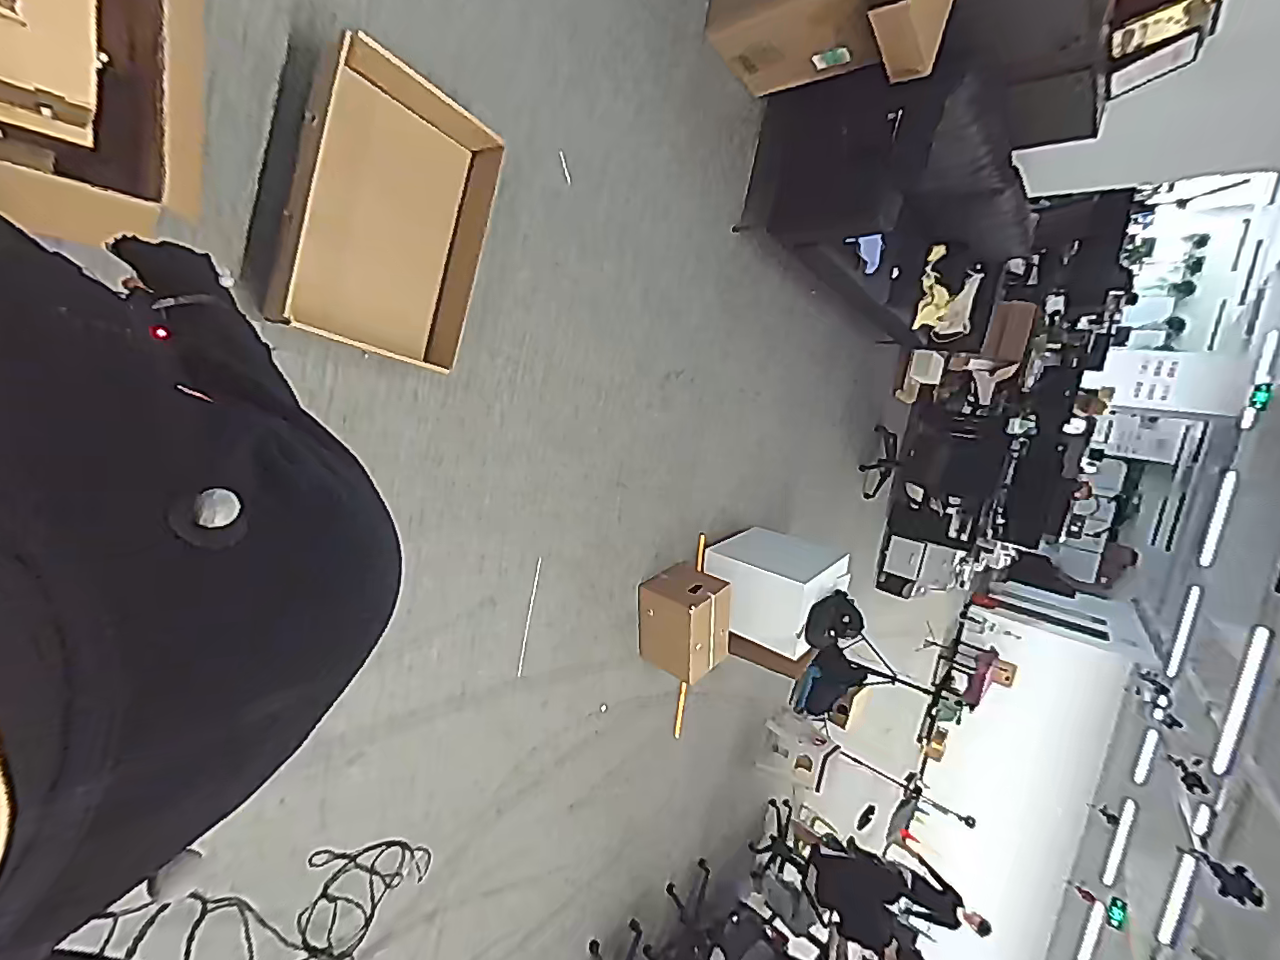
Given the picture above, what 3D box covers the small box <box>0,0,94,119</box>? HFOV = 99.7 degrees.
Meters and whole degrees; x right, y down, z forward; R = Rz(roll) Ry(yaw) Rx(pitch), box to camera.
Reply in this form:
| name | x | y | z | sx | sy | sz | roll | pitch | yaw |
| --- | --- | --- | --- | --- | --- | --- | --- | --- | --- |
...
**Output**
| name | x | y | z | sx | sy | sz | roll | pitch | yaw |
| --- | --- | --- | --- | --- | --- | --- | --- | --- | --- |
| small box | -0.859 | -0.623 | 0.727 | 0.168 | 0.176 | 0.179 | -2 | 106 | -50 |
